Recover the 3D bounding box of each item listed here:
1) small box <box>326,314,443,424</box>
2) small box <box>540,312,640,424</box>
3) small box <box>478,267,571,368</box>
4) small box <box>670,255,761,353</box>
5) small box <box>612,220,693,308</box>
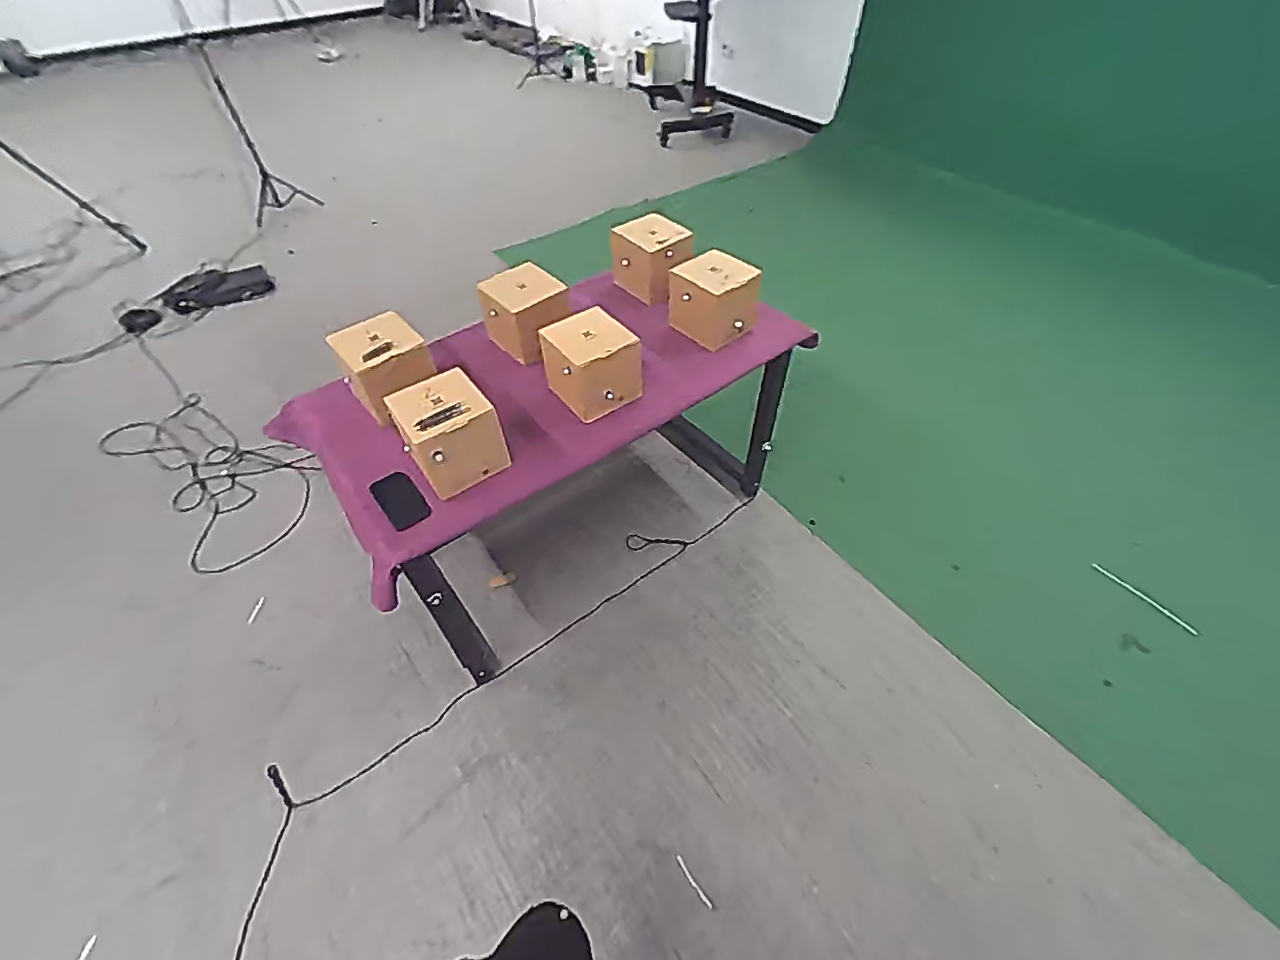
[{"bbox_3d":[-0.592,-0.254,1.273,0.168,0.176,0.179,-34,57,-26],"label":"small box"},{"bbox_3d":[-0.115,-0.264,1.279,0.168,0.176,0.179,-30,54,-23],"label":"small box"},{"bbox_3d":[-0.296,-0.424,1.418,0.168,0.176,0.179,-35,58,-24],"label":"small box"},{"bbox_3d":[0.194,-0.469,1.445,0.168,0.176,0.179,-33,56,-23],"label":"small box"},{"bbox_3d":[0.034,-0.635,1.594,0.168,0.176,0.179,-33,56,-24],"label":"small box"}]
